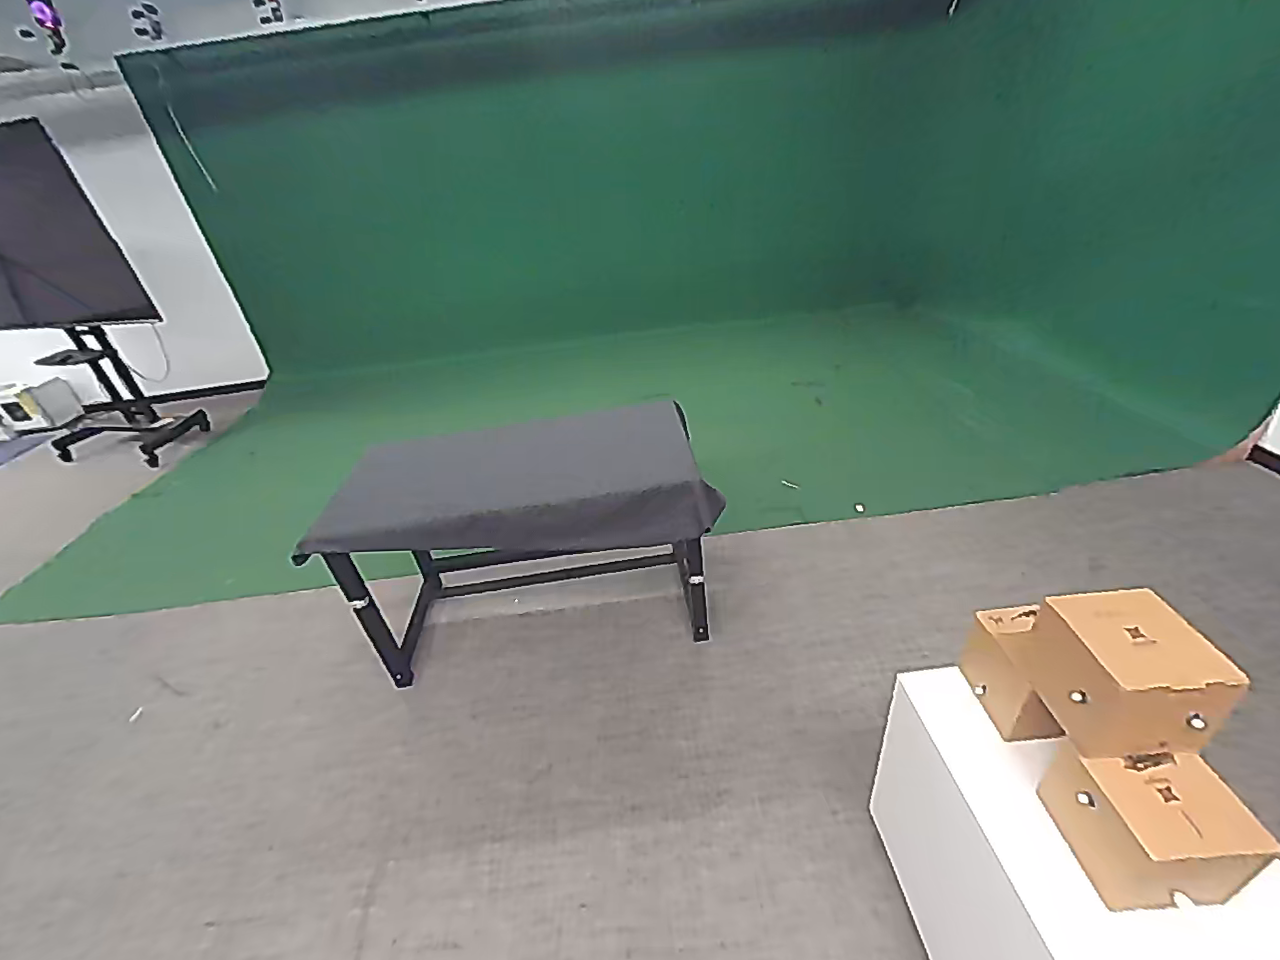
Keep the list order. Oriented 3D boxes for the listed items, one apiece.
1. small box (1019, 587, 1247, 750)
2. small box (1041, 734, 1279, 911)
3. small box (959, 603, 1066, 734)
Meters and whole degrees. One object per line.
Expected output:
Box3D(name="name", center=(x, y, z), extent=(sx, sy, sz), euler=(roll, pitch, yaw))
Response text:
Box3D(name="small box", center=(0.730, 0.292, 0.829), extent=(0.168, 0.176, 0.179), euler=(-6, 32, 2))
Box3D(name="small box", center=(0.747, 0.500, 0.804), extent=(0.168, 0.176, 0.179), euler=(-7, 33, 3))
Box3D(name="small box", center=(0.743, 0.359, 1.023), extent=(0.168, 0.176, 0.179), euler=(-7, 35, 1))
